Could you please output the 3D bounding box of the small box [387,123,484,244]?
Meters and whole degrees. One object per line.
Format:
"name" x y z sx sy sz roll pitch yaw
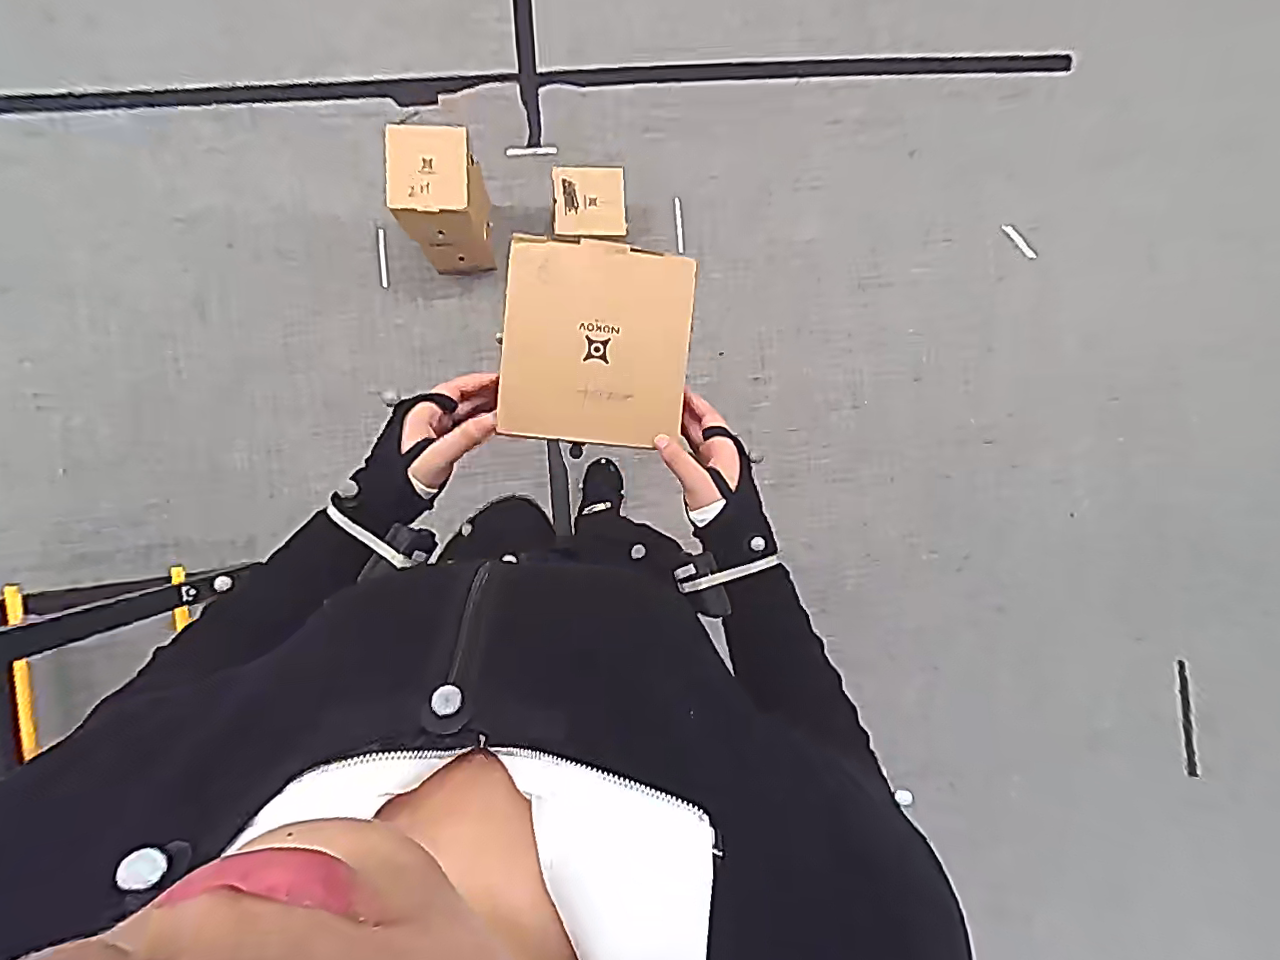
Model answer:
"small box" -0.448 -0.650 1.201 0.168 0.176 0.179 0 91 -5

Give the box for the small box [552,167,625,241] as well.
"small box" -0.132 -0.681 1.397 0.179 0.176 0.168 -2 91 -6

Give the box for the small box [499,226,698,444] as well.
"small box" -0.044 -0.132 0.558 0.168 0.176 0.179 5 94 -6

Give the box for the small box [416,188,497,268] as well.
"small box" -0.464 -0.649 1.366 0.168 0.176 0.179 -6 92 -5
